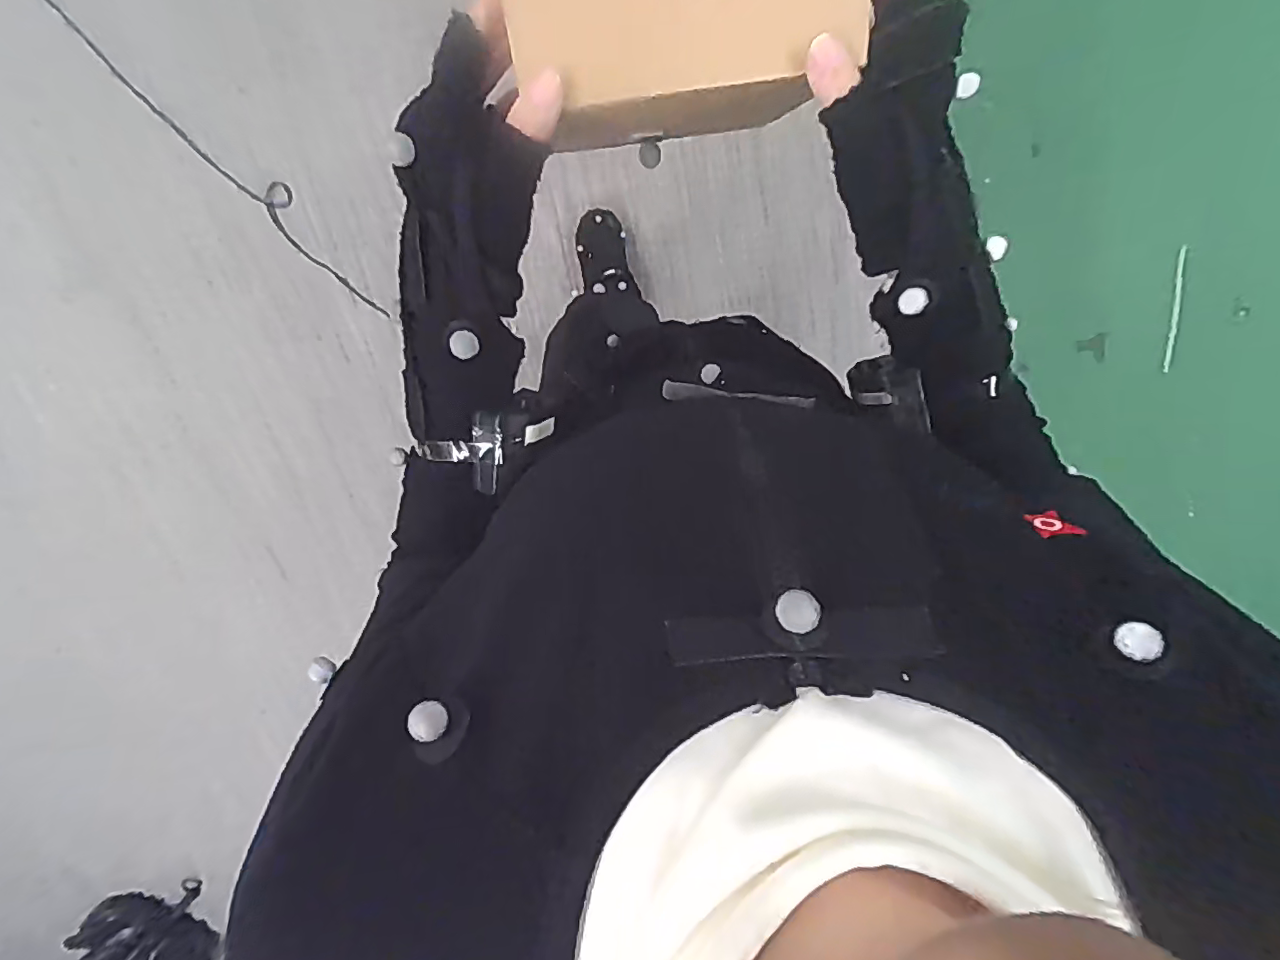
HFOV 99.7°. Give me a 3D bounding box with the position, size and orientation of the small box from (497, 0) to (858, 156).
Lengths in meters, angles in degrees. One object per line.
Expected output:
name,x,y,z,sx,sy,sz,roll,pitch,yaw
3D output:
small box,0.005,-0.298,0.294,0.168,0.176,0.179,-8,114,0
